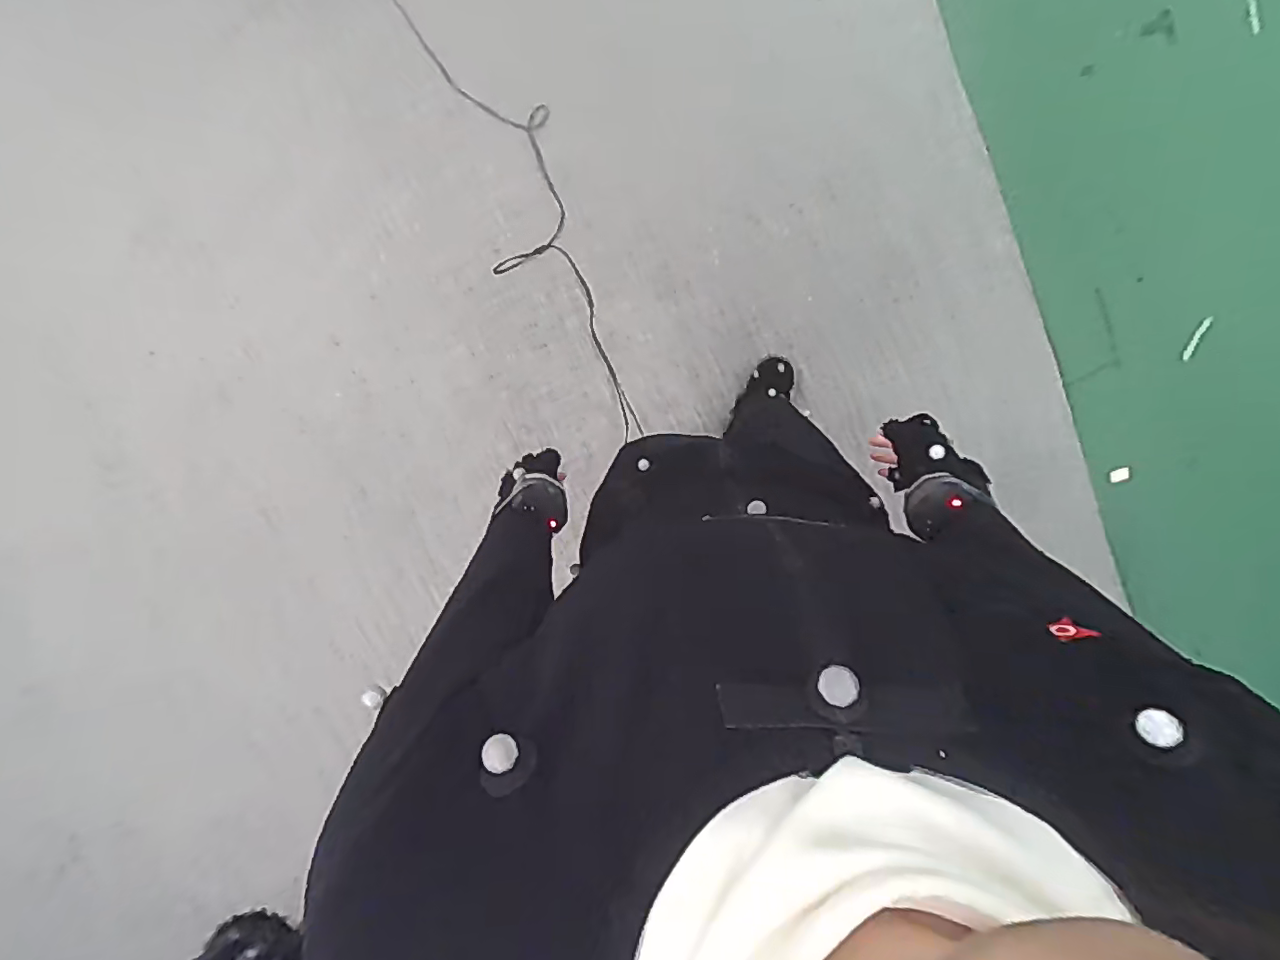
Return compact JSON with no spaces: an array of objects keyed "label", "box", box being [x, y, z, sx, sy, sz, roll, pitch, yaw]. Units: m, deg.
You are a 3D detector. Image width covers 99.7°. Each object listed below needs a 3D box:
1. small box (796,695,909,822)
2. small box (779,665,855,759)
[{"label":"small box","box":[0.485,0.647,1.271,0.179,0.176,0.168,-27,98,4]},{"label":"small box","box":[0.485,0.627,1.434,0.179,0.176,0.168,-25,98,3]}]
